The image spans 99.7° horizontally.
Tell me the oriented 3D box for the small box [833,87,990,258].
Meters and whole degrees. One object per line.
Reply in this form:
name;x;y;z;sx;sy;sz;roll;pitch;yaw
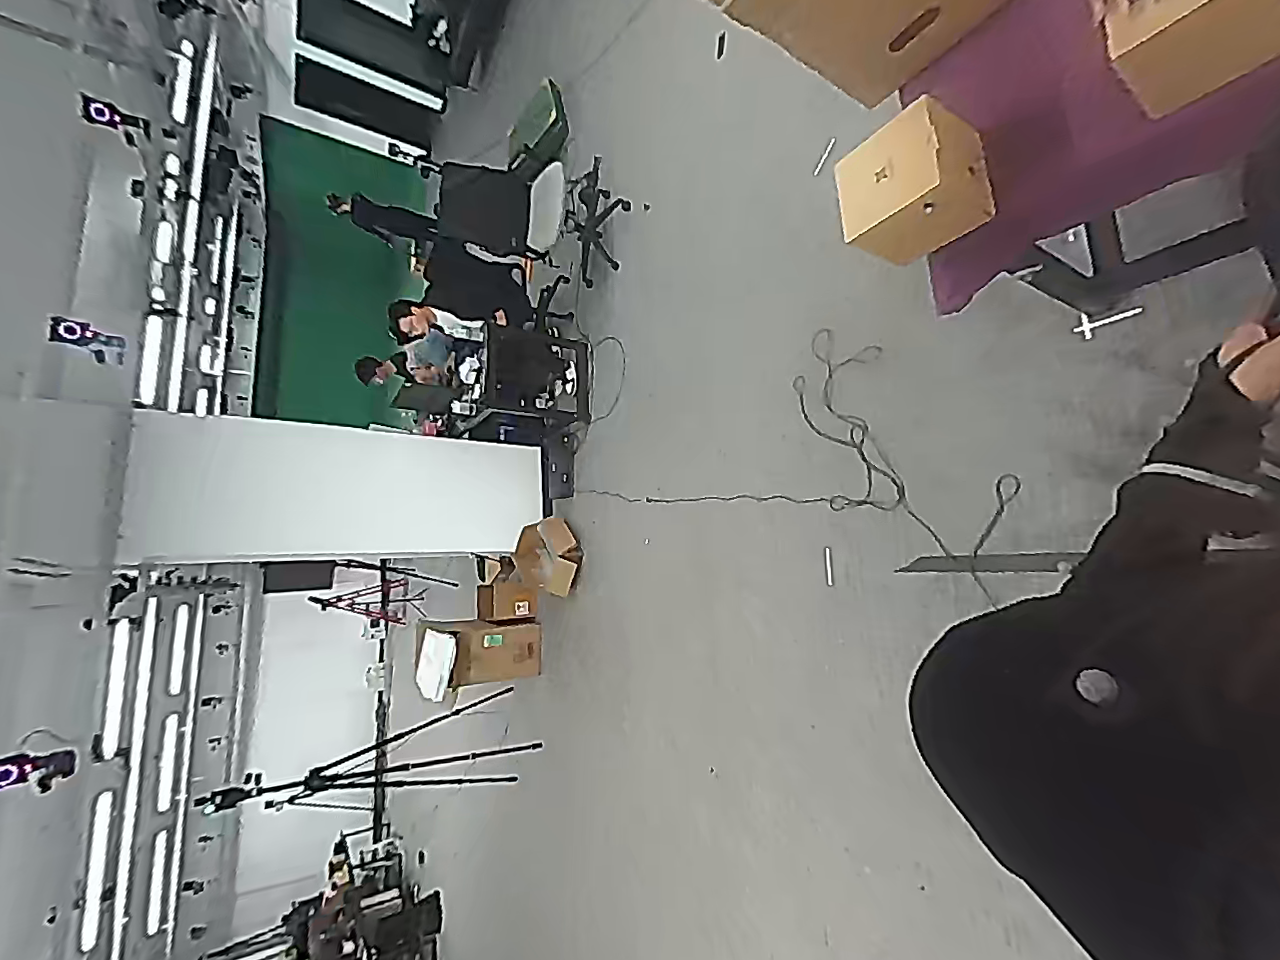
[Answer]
small box;0.471;-0.519;0.946;0.179;0.176;0.168;-19;71;54
